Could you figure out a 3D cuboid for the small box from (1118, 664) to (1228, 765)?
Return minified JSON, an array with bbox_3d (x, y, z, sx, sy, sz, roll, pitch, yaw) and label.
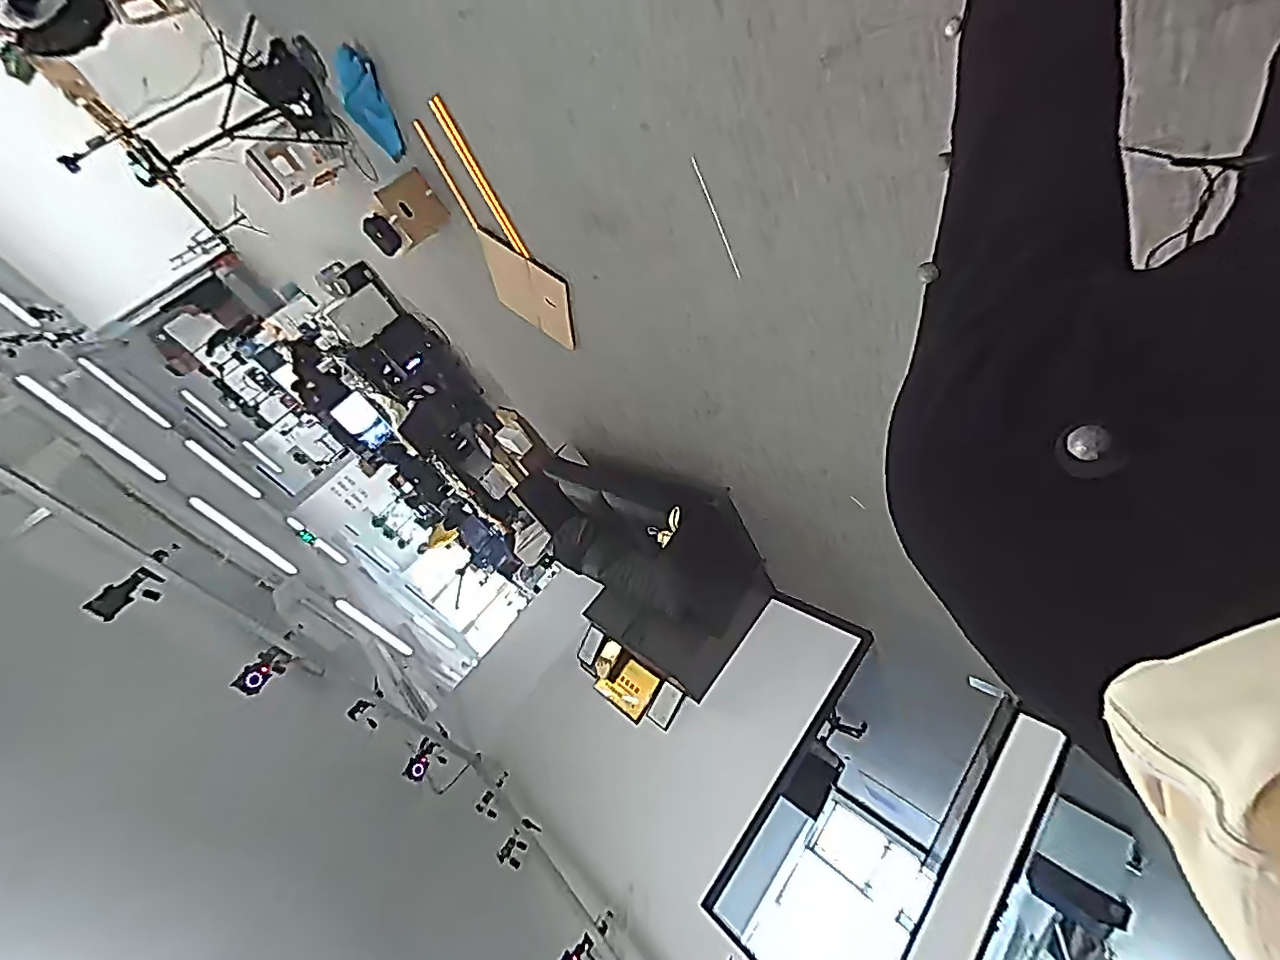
[{"bbox_3d":[1.469,0.641,1.492,0.168,0.176,0.179,24,155,41],"label":"small box"}]
